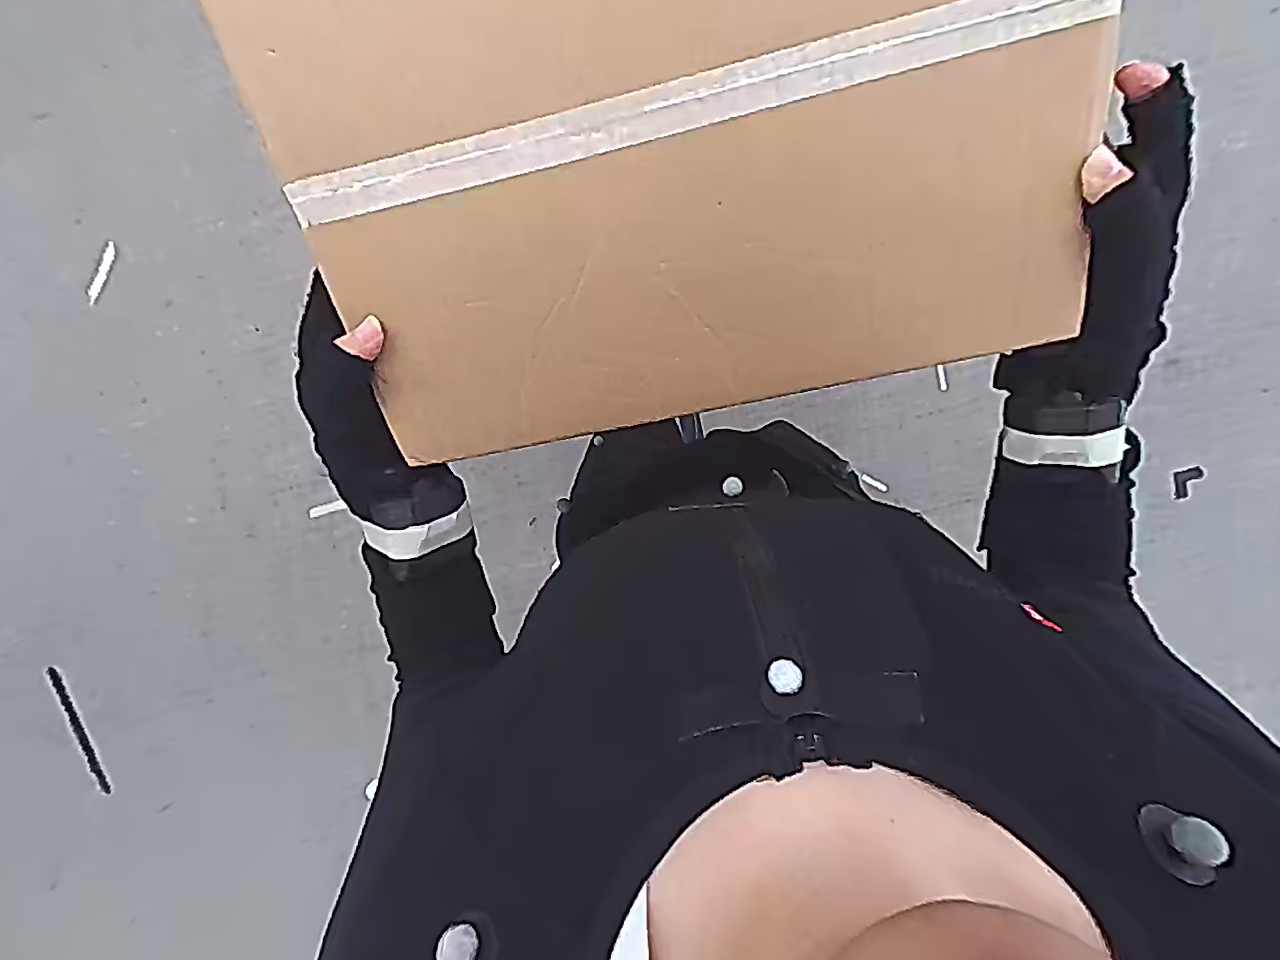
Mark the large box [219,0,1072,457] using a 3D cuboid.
[{"bbox_3d":[0.015,-0.252,0.409,0.408,0.320,0.320,-11,114,7],"label":"large box"}]
